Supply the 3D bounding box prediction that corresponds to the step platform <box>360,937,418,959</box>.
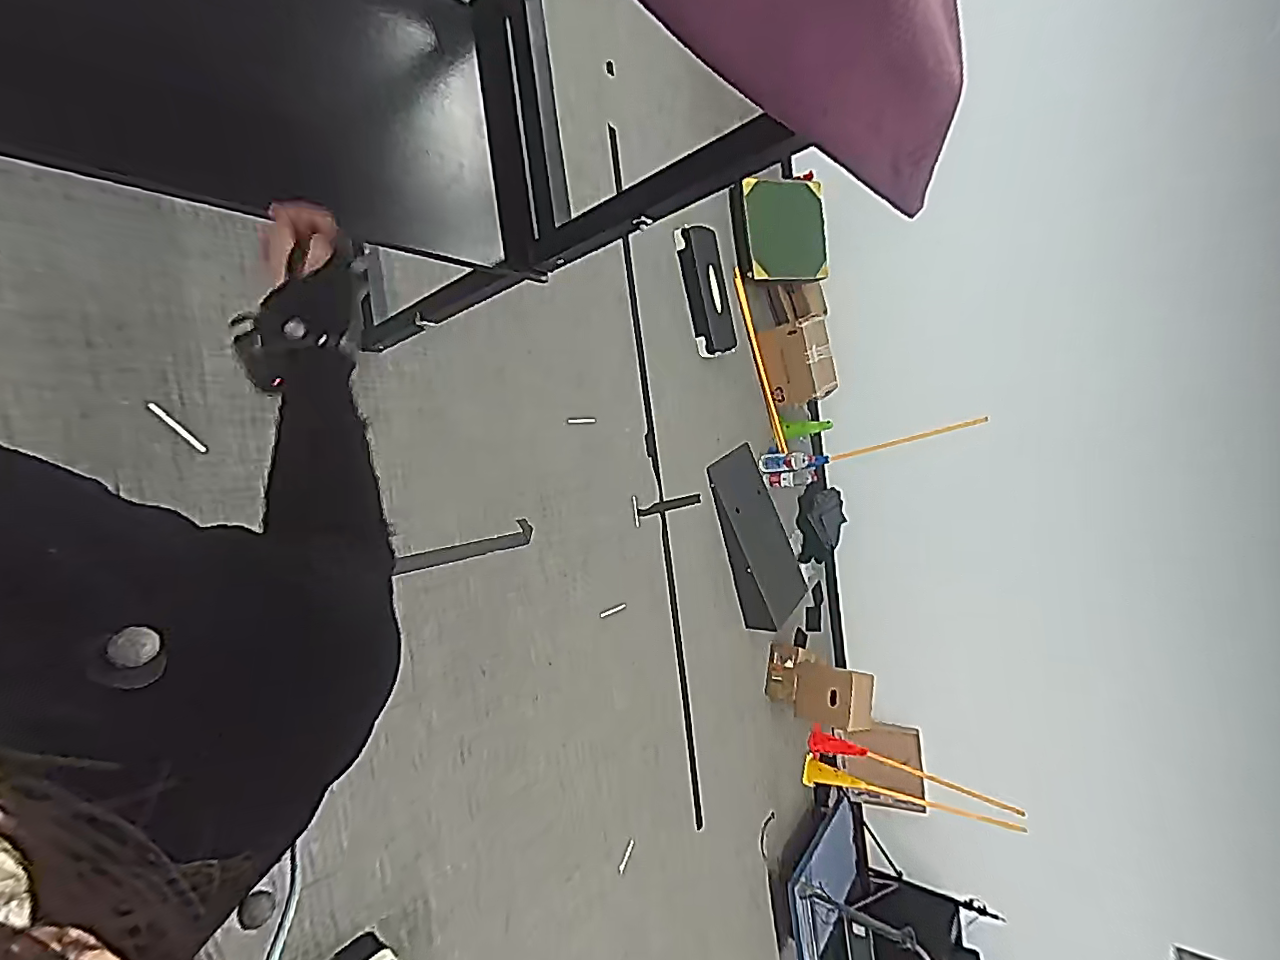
[{"bbox_3d":[-0.801,1.368,1.169,0.684,0.204,0.286,-1,86,-51],"label":"step platform"}]
